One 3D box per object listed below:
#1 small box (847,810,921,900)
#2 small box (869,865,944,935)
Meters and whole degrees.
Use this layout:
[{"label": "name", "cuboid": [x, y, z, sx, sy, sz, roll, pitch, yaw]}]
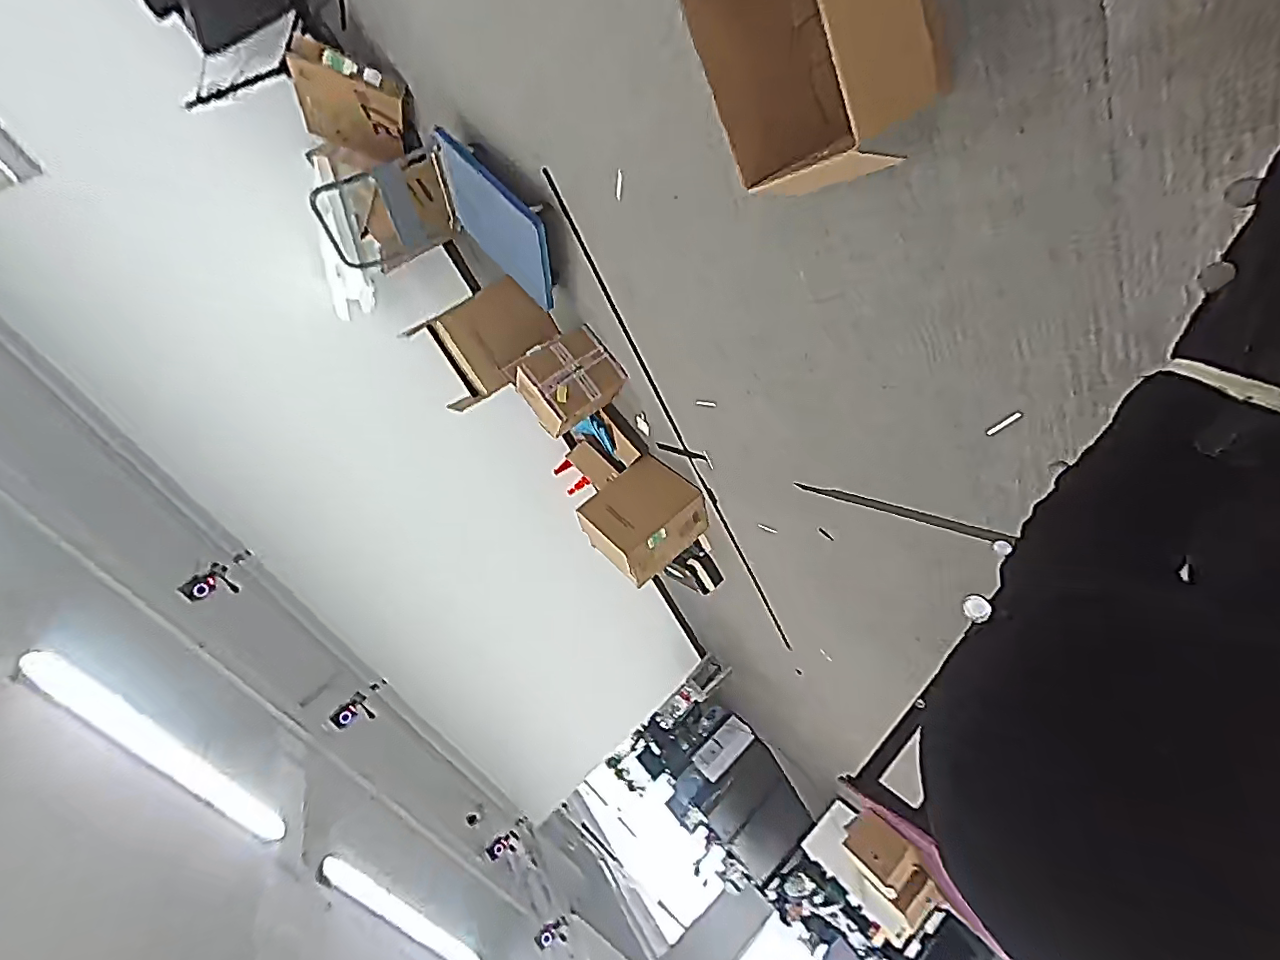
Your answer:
[{"label": "small box", "cuboid": [0.884, 1.341, 1.942, 0.179, 0.176, 0.168, 27, 151, 53]}, {"label": "small box", "cuboid": [1.000, 1.529, 2.026, 0.179, 0.176, 0.168, 21, 145, 58]}]
